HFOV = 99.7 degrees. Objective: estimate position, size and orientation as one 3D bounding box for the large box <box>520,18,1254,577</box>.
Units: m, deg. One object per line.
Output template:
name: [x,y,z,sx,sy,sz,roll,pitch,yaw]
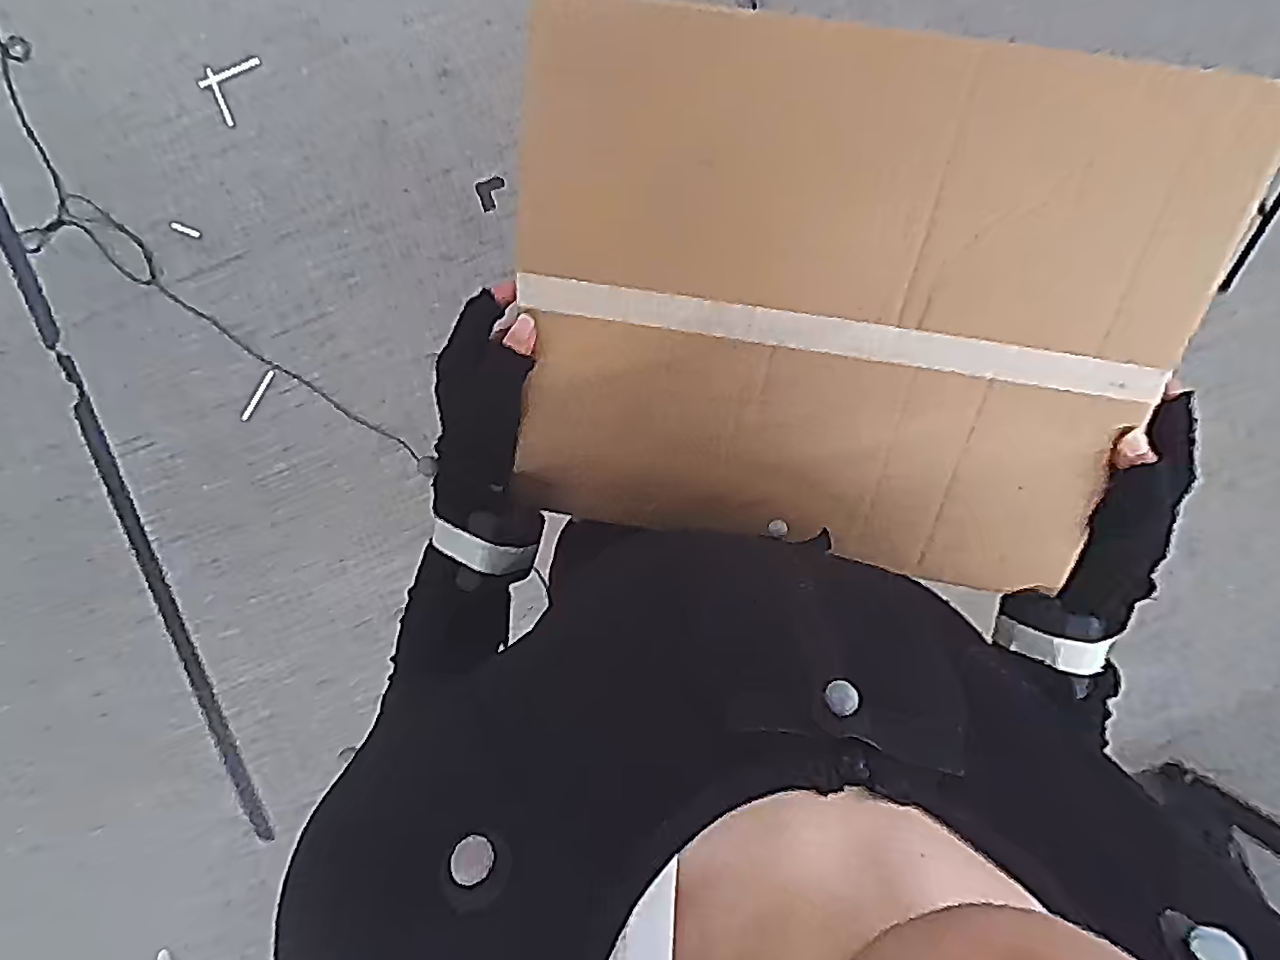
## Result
large box: [0.131,-0.149,0.493,0.408,0.320,0.320,9,114,2]
